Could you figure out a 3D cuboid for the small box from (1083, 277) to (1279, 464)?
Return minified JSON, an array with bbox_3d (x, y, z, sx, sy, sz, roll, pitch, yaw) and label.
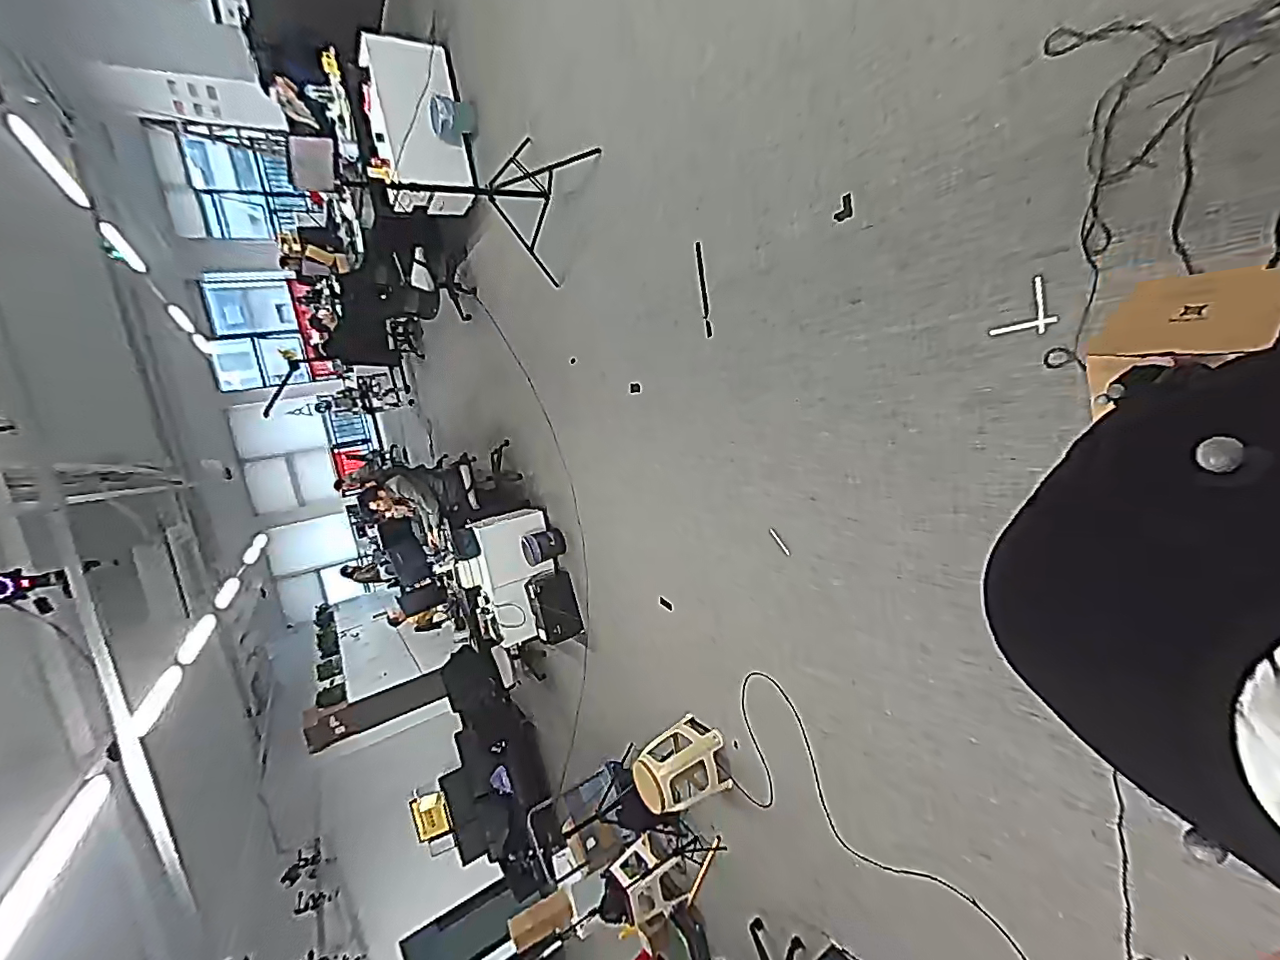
[{"bbox_3d":[0.731,-0.142,0.721,0.168,0.179,0.176,18,146,54],"label":"small box"}]
